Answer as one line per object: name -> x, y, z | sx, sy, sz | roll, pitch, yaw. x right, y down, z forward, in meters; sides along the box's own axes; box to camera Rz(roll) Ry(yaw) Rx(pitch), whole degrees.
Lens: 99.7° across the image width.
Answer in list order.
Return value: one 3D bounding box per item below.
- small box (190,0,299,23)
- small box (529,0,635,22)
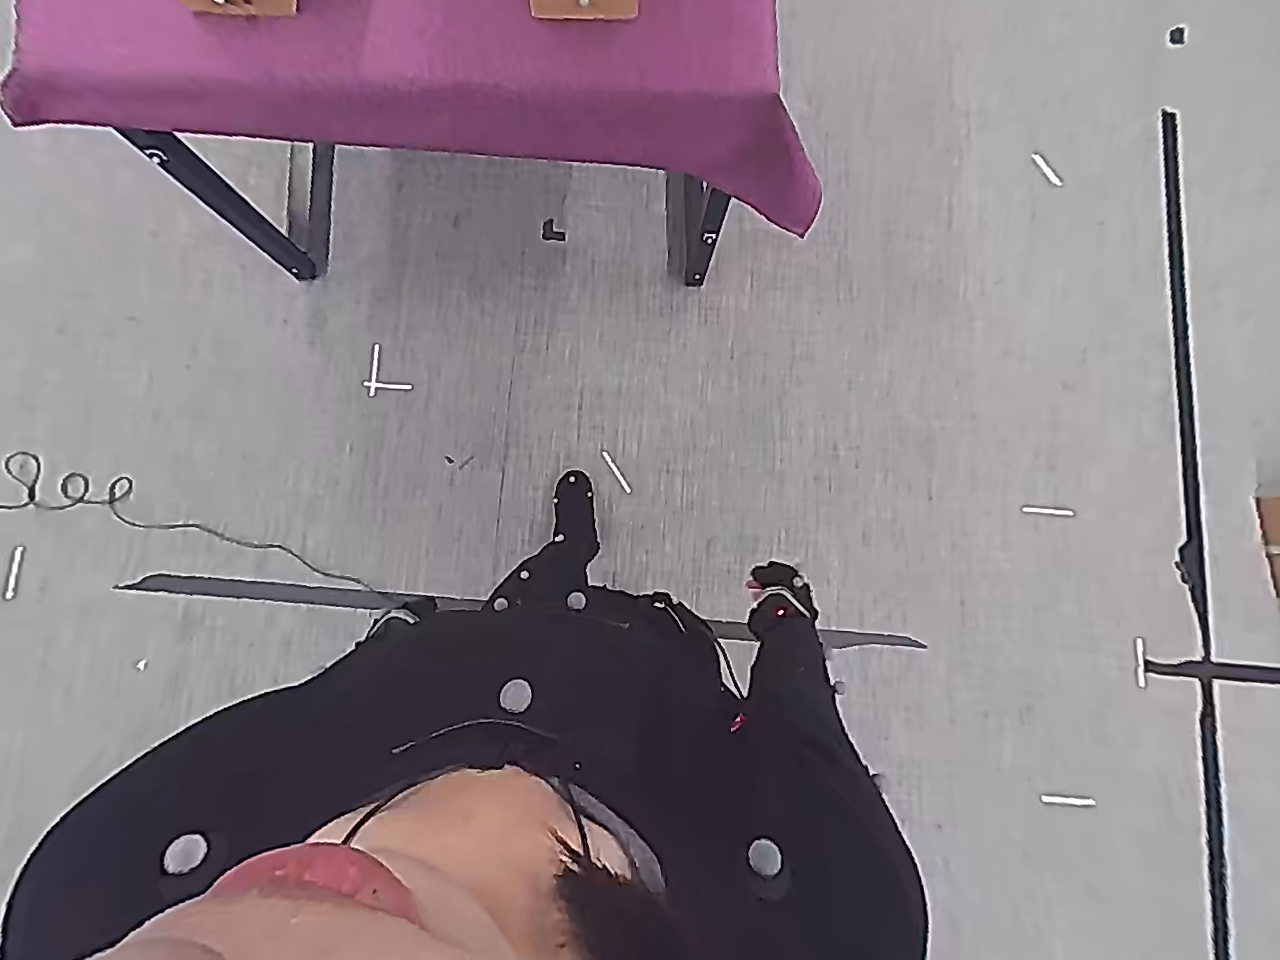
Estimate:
small box -> -0.632, -0.837, 0.803 | 0.168, 0.176, 0.179 | -1, 84, -2
small box -> -0.090, -0.849, 0.828 | 0.179, 0.176, 0.168 | -2, 83, -3
